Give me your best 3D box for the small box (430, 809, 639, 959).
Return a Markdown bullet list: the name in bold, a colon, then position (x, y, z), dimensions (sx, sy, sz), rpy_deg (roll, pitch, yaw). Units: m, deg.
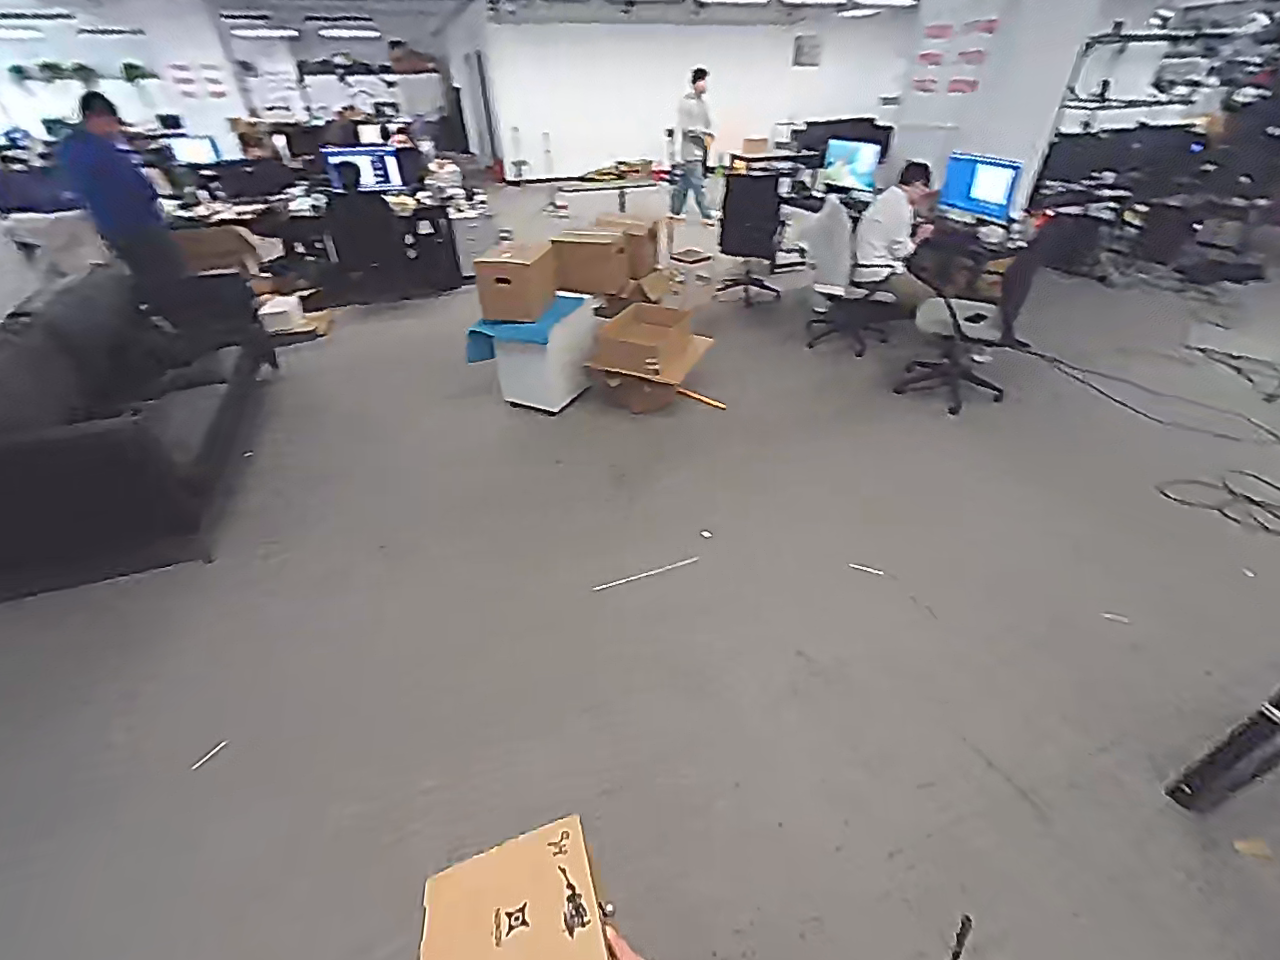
- **small box**: position (-0.100, 0.496, 0.555), dimensions (0.179, 0.176, 0.168), rpy_deg (-18, 23, -10)
